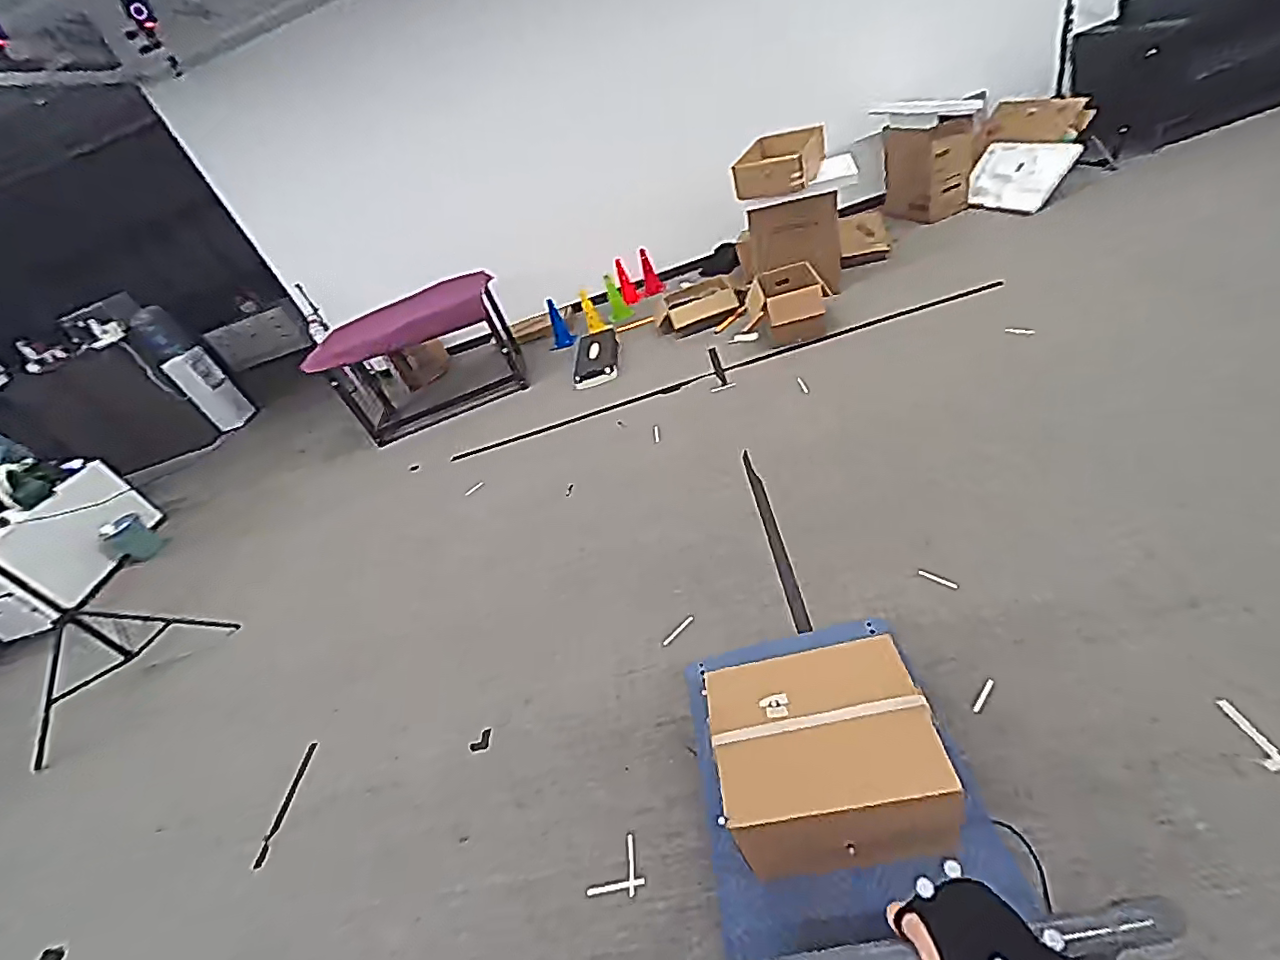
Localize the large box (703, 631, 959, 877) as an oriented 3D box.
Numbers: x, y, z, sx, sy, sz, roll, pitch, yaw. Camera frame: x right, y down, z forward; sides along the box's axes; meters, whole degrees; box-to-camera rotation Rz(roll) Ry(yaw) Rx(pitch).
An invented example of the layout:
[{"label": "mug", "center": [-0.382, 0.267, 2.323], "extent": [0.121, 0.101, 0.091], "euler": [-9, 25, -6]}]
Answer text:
[{"label": "large box", "center": [0.381, 0.573, 1.123], "extent": [0.408, 0.320, 0.320], "euler": [-17, 35, 10]}]
